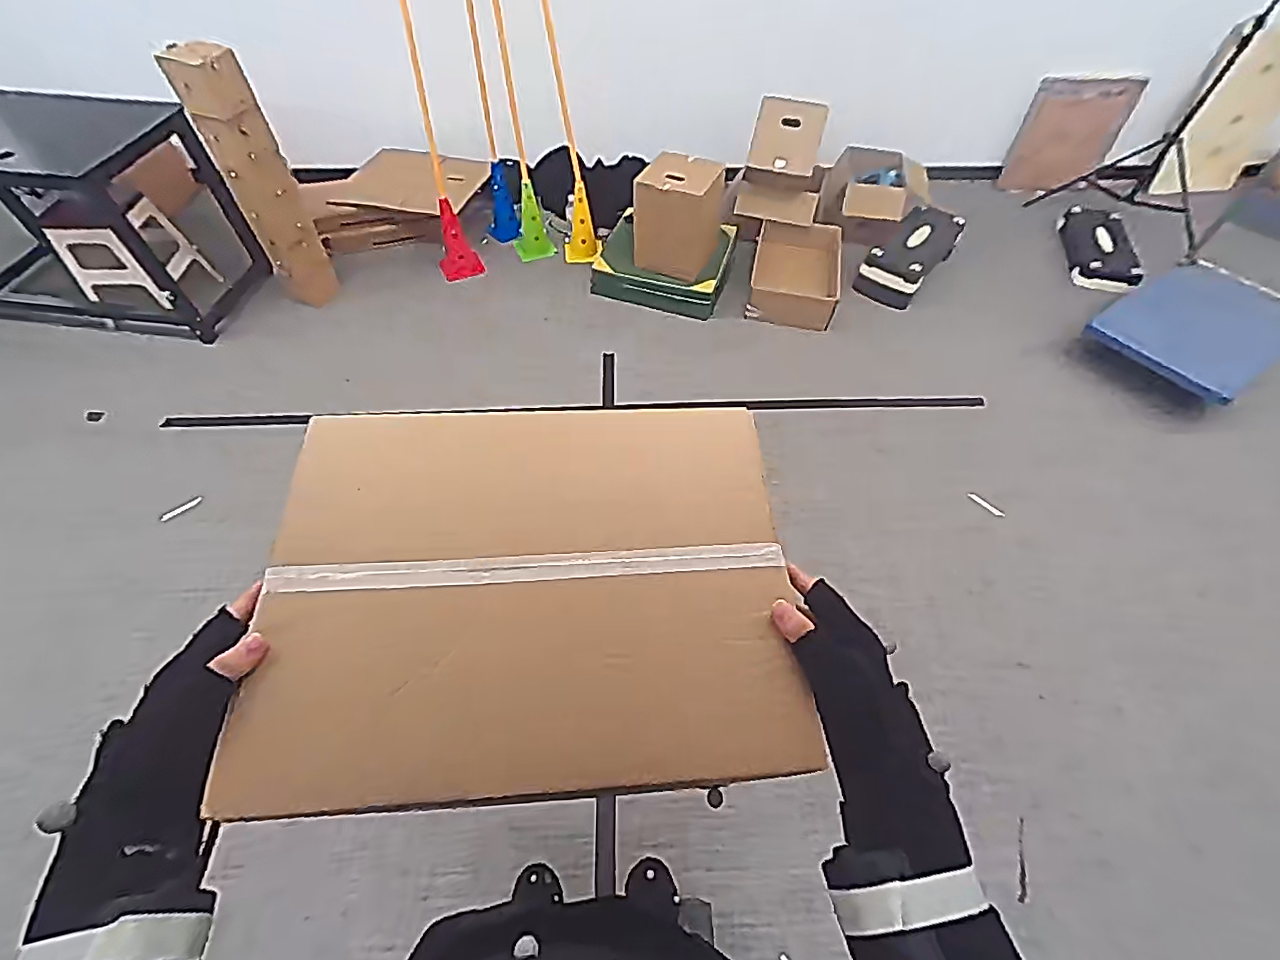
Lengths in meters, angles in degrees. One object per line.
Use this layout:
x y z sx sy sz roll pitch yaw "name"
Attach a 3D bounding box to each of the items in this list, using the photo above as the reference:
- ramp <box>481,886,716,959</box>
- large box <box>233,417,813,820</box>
-0.069 1.345 0.960 0.509 0.206 0.991 -2 55 -4 "ramp"
-0.090 0.152 0.572 0.408 0.320 0.320 -2 59 -5 "large box"
